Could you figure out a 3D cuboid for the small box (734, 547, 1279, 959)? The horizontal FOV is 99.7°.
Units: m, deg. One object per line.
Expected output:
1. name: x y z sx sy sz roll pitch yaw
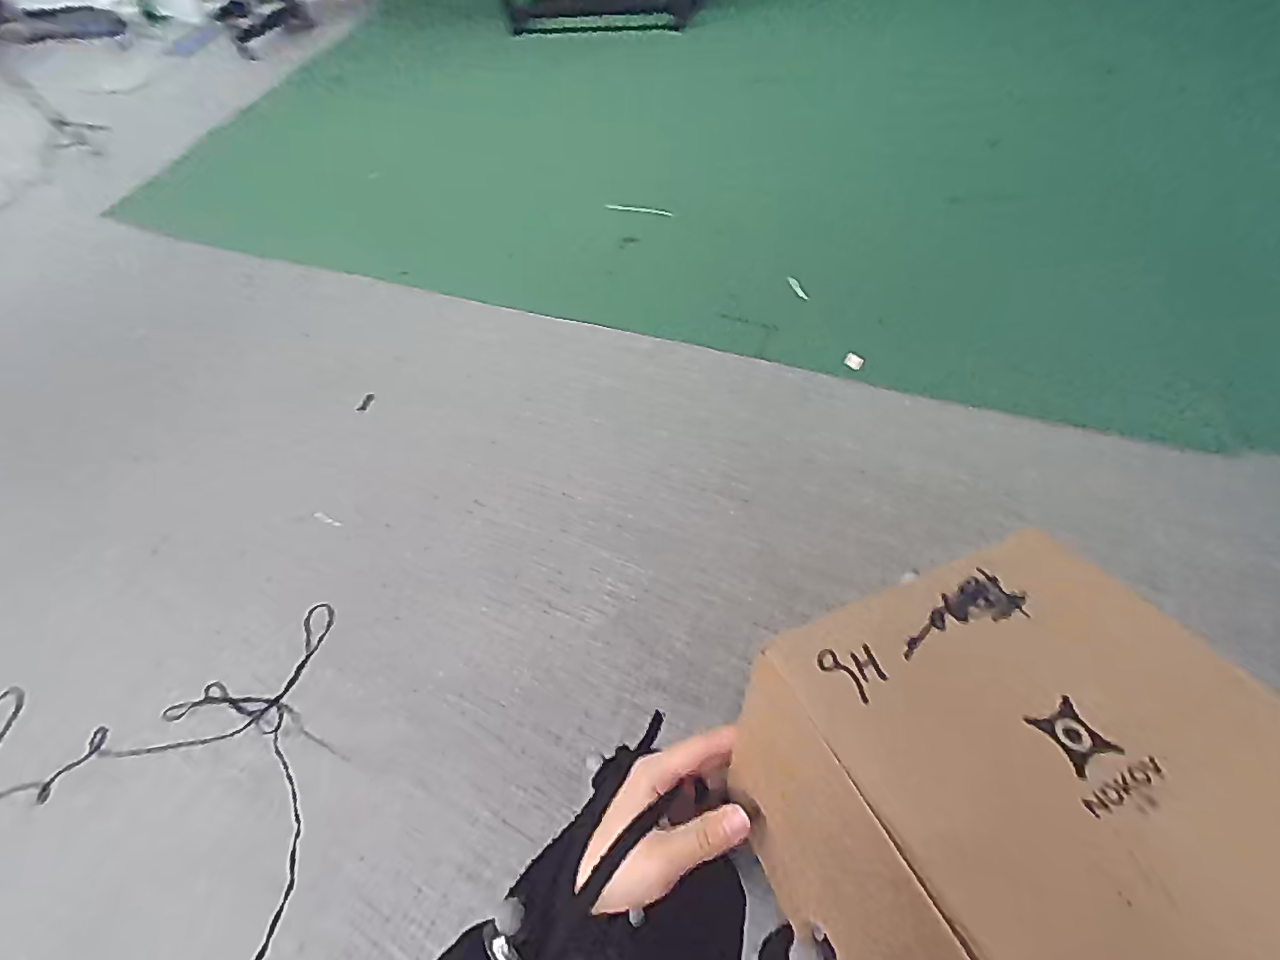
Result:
1. small box: 0.159 0.166 0.245 0.168 0.176 0.179 -15 43 -16
